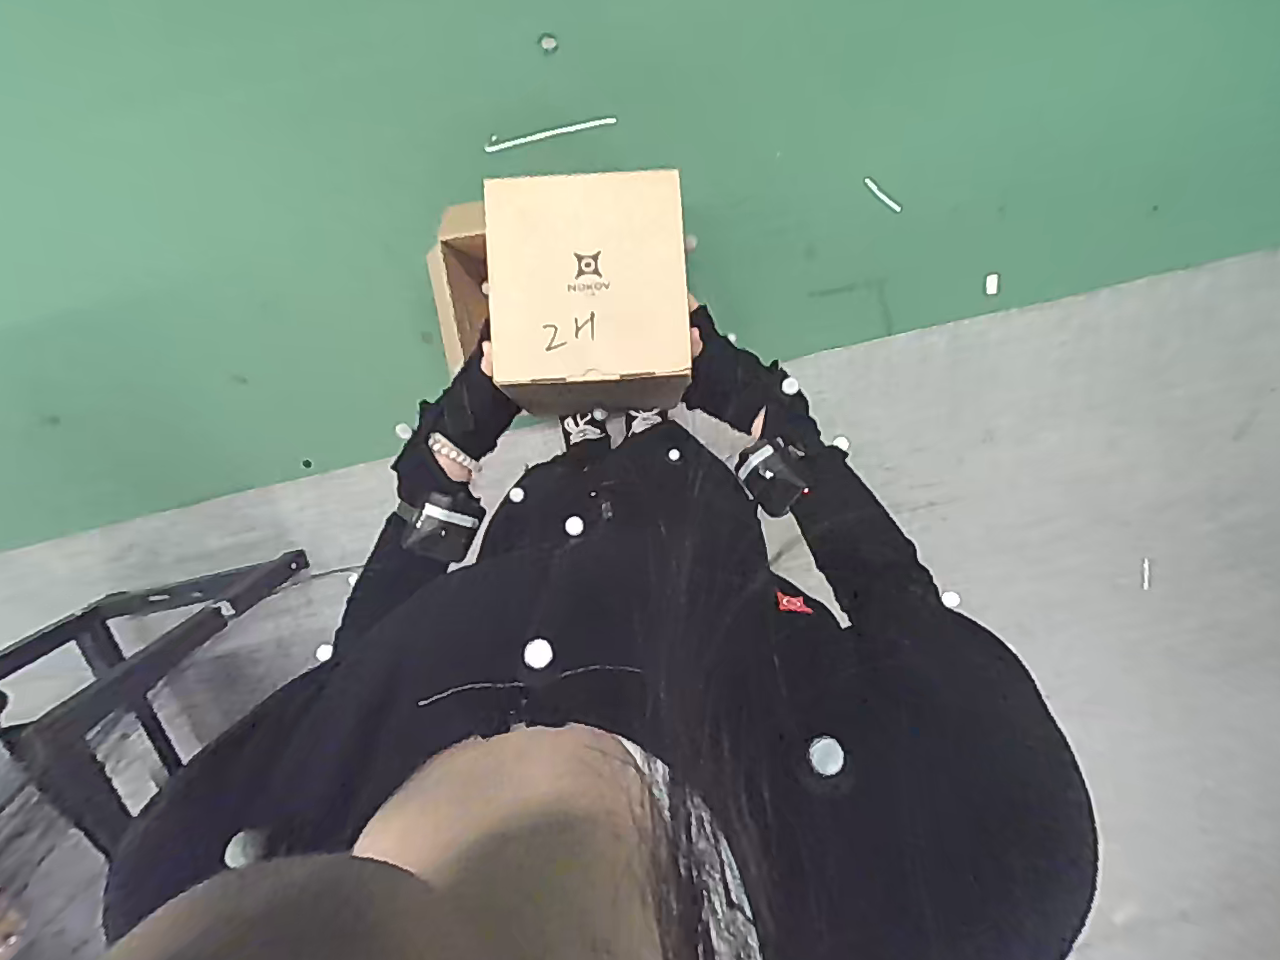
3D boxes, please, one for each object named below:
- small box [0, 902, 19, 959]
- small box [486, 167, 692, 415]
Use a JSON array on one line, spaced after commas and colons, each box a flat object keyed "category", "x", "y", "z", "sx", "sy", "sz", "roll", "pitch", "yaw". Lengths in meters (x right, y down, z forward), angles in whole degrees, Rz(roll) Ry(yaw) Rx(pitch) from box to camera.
[{"category": "small box", "x": -1.110, "y": 0.733, "z": 0.806, "sx": 0.179, "sy": 0.176, "sz": 0.168, "roll": -14, "pitch": 105, "yaw": 2}, {"category": "small box", "x": -0.043, "y": -0.165, "z": 0.520, "sx": 0.168, "sy": 0.176, "sz": 0.179, "roll": -3, "pitch": 89, "yaw": 0}]
